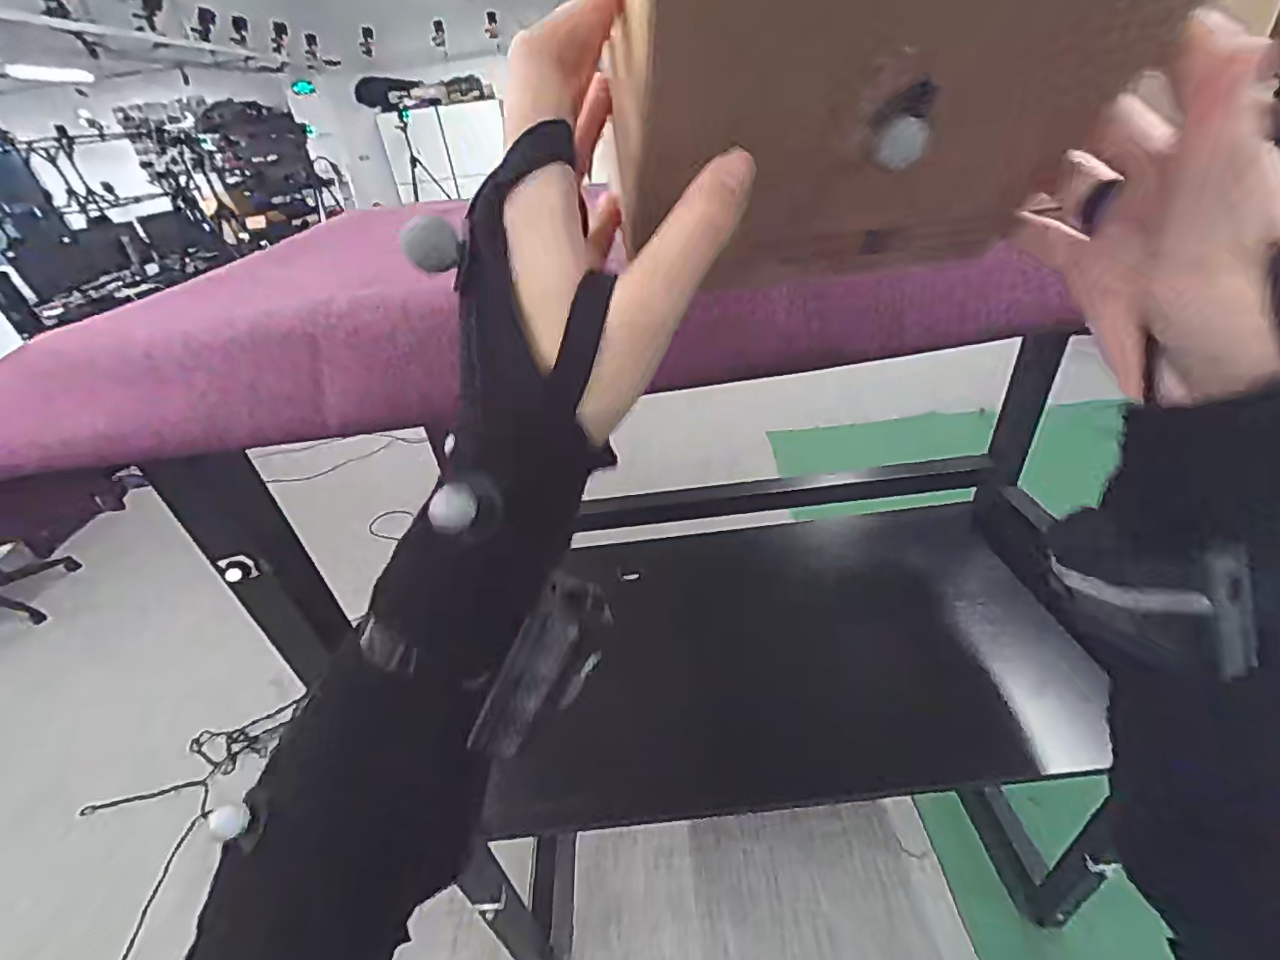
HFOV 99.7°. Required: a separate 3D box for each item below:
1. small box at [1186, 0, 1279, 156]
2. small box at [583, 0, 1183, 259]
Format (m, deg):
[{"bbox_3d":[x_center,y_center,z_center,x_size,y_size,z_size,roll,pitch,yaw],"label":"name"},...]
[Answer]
[{"bbox_3d":[0.569,-0.337,0.383,0.179,0.176,0.168,-7,34,3],"label":"small box"},{"bbox_3d":[0.067,-0.196,0.181,0.168,0.176,0.179,-8,75,-5],"label":"small box"}]
